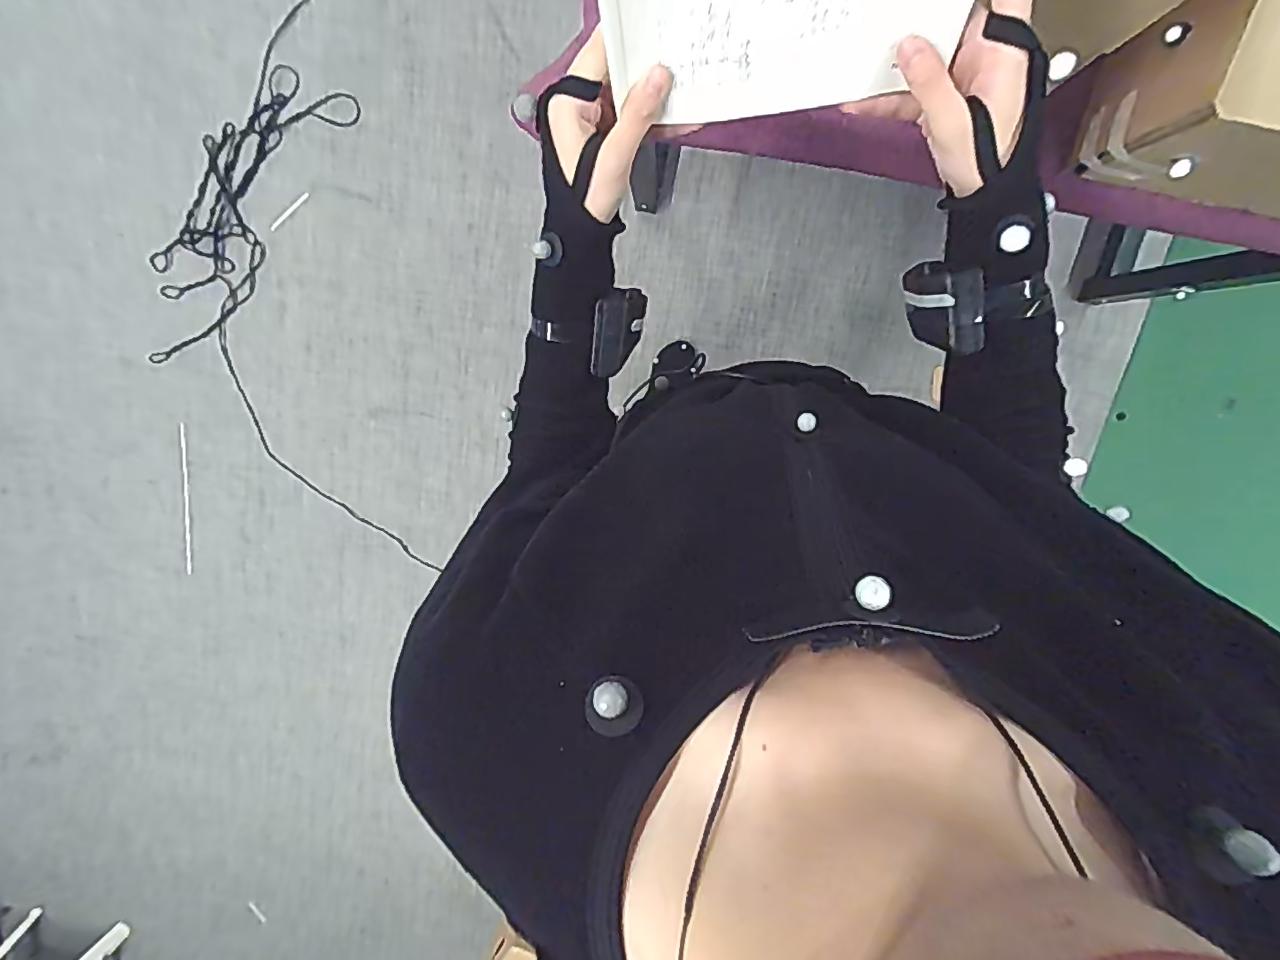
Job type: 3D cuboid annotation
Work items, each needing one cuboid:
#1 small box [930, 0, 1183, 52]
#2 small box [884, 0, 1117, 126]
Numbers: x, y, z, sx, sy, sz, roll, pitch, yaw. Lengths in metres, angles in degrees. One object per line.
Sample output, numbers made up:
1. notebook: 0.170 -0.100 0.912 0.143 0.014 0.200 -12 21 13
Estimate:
1. small box: 0.360 -0.465 0.402 0.179 0.176 0.168 13 101 1
2. small box: 0.378 -0.506 0.560 0.168 0.176 0.179 12 101 1
